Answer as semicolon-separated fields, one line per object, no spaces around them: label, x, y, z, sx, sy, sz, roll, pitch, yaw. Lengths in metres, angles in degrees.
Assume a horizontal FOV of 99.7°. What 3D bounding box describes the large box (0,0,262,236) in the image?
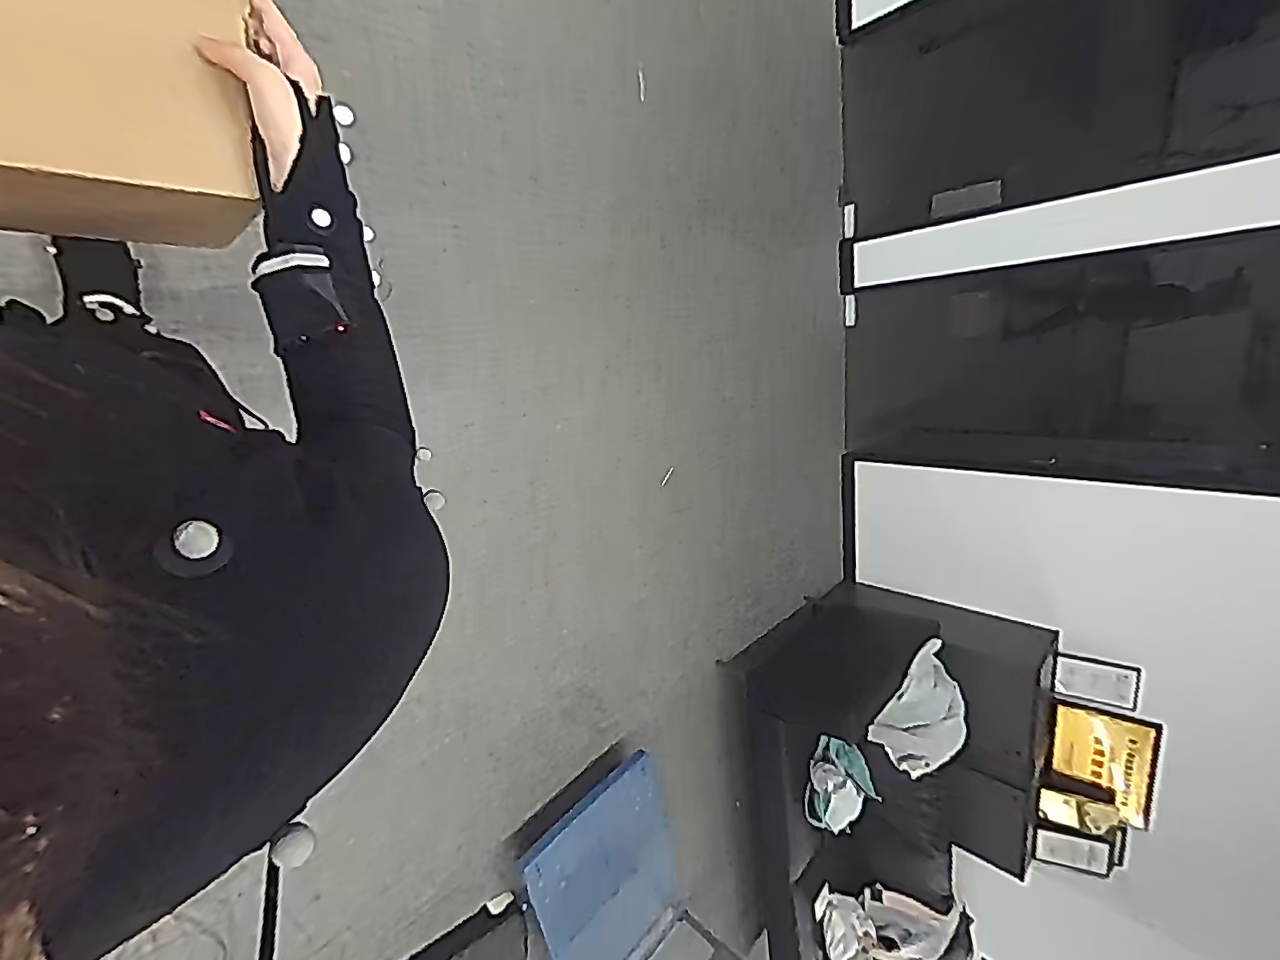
large box;-0.550;-0.368;0.378;0.408;0.320;0.320;-13;109;-39
